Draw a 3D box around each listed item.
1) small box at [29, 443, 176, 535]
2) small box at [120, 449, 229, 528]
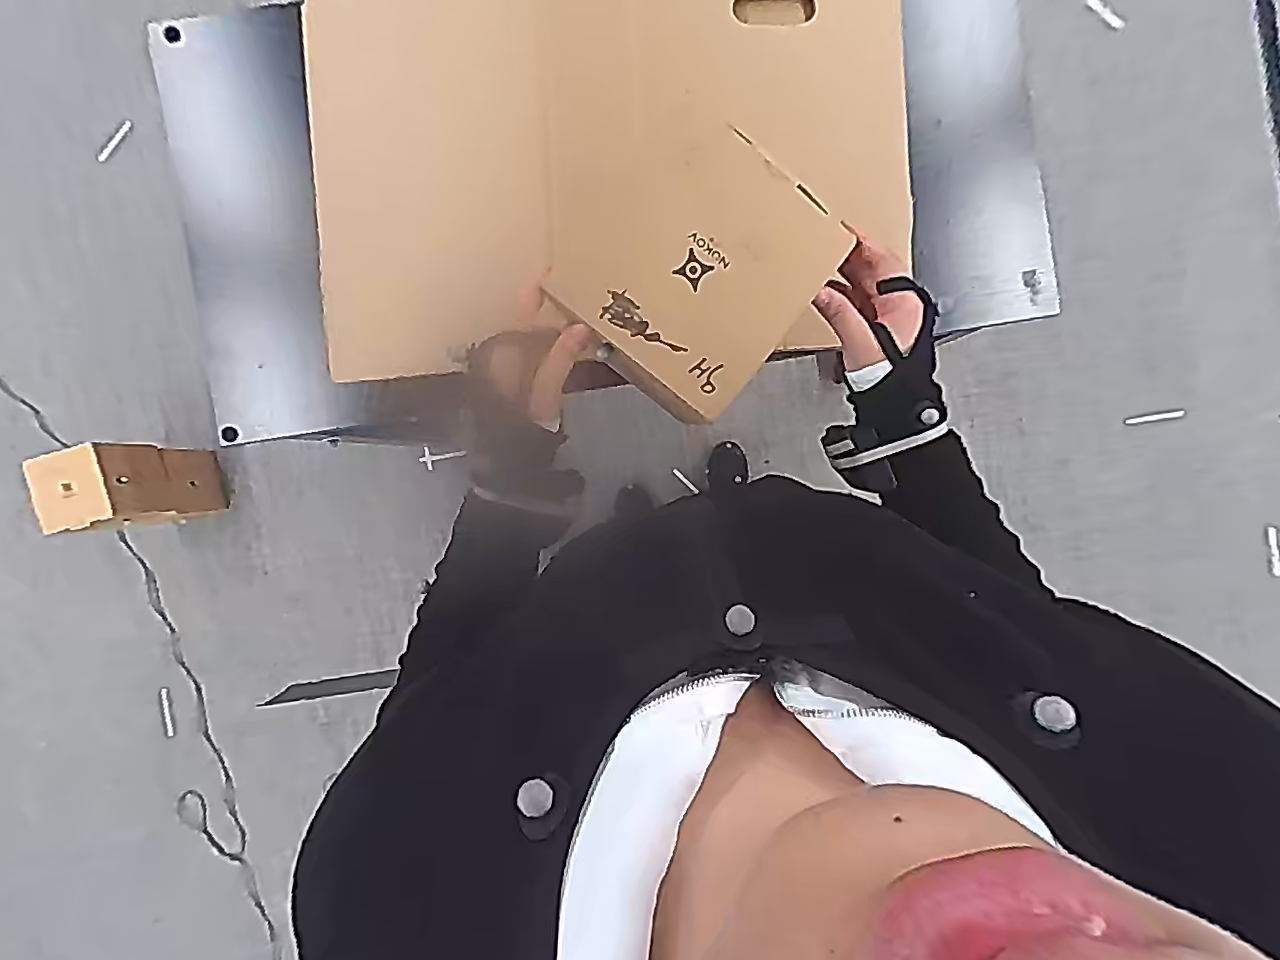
[{"bbox_3d":[-1.261,0.018,1.284,0.168,0.176,0.179,-16,90,1],"label":"small box"},{"bbox_3d":[-1.255,0.020,1.446,0.168,0.176,0.179,-13,92,1],"label":"small box"}]
